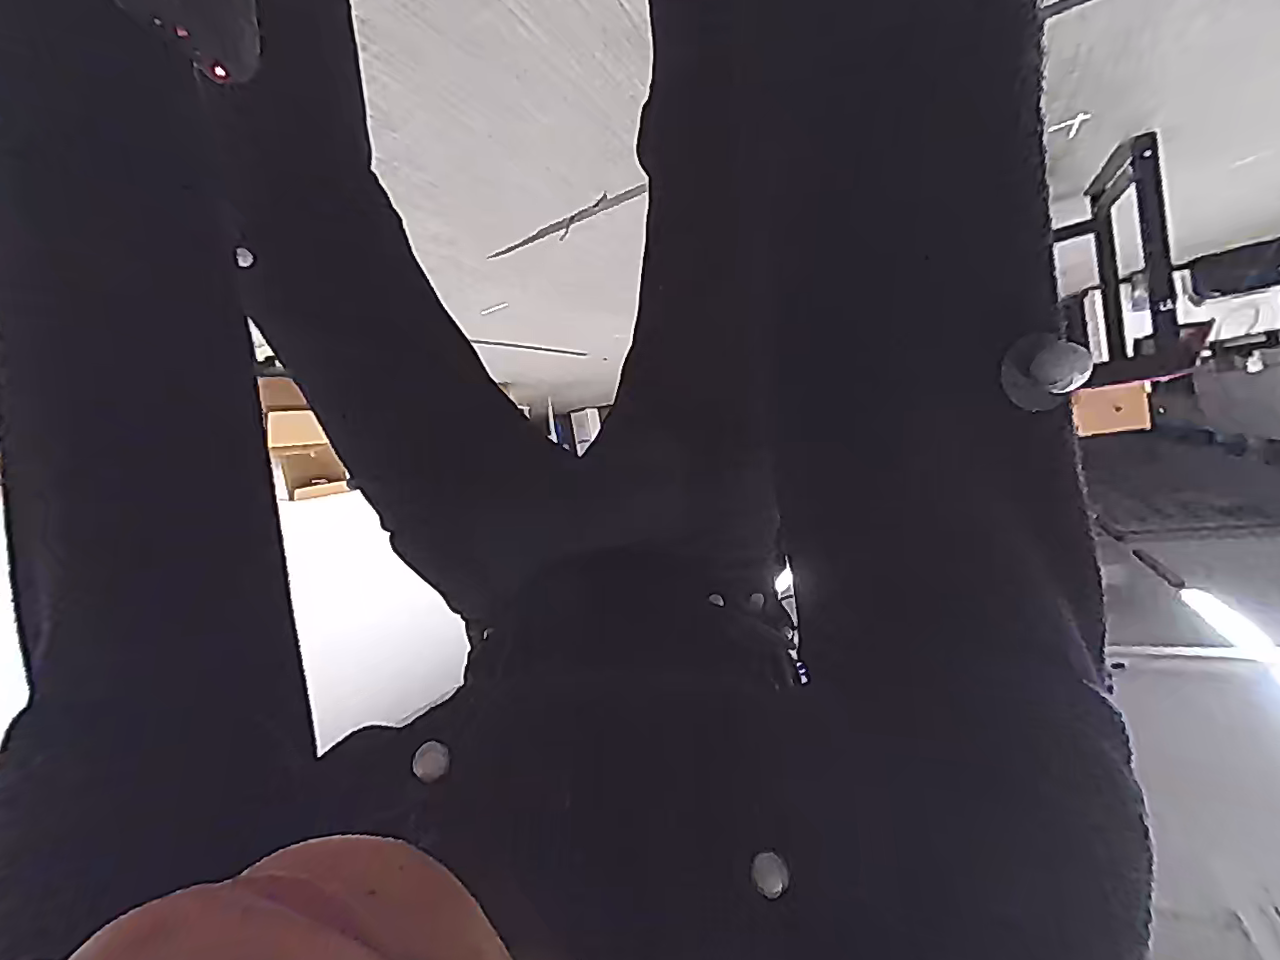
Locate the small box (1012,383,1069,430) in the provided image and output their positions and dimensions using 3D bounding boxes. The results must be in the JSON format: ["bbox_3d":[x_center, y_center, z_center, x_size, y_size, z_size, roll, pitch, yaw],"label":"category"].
[{"bbox_3d":[1.594,-0.293,2.168,0.168,0.176,0.179,-8,-176,30],"label":"small box"}]

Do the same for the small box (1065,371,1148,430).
[{"bbox_3d":[1.602,-0.274,1.864,0.179,0.176,0.168,-8,-177,29],"label":"small box"}]
